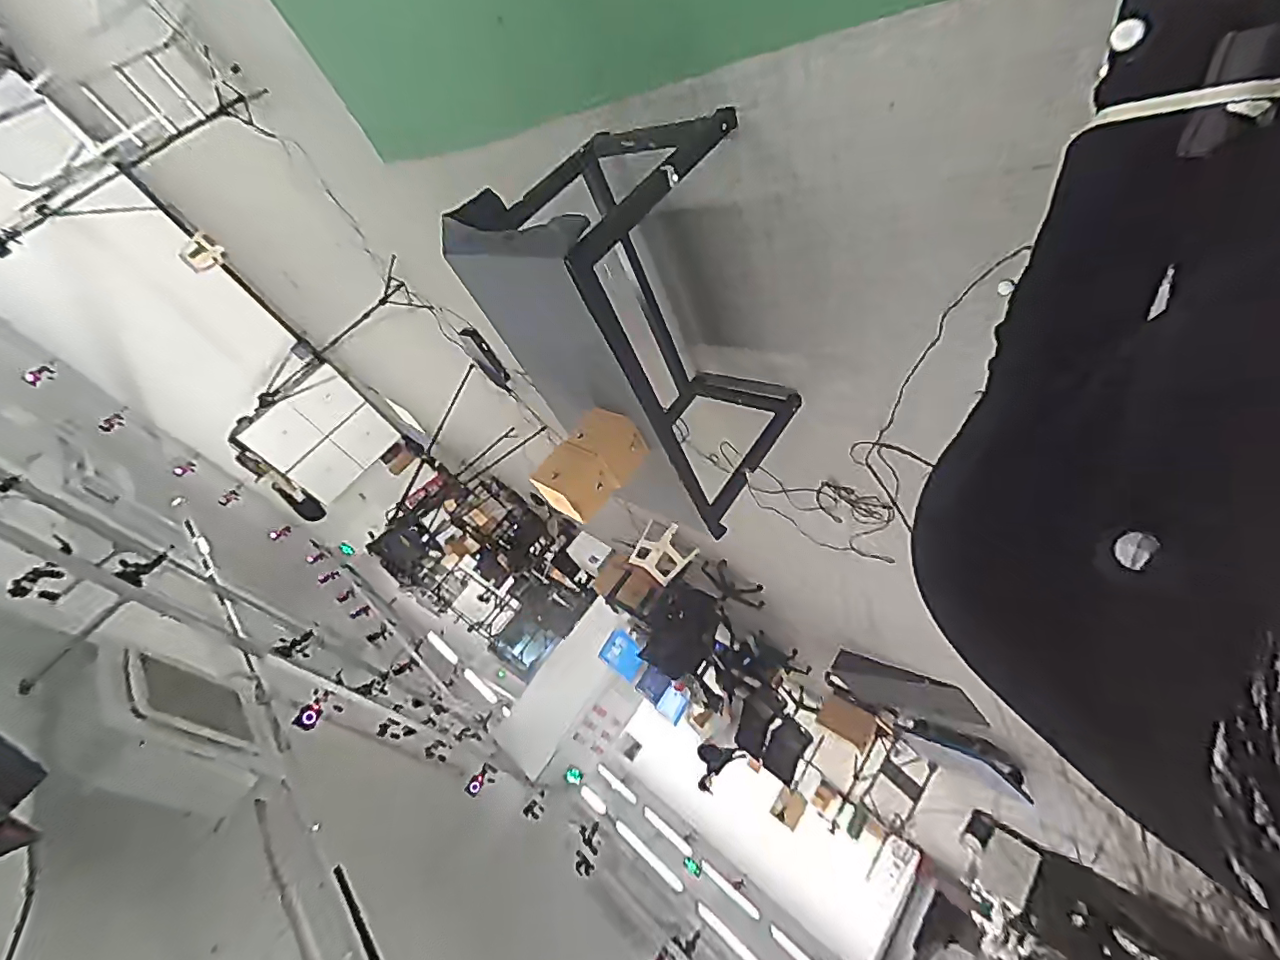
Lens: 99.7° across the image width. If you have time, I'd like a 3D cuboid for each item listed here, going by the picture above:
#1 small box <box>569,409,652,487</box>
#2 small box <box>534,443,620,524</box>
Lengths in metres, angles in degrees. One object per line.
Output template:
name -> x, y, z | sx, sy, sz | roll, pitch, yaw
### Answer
small box -> -0.092, -0.111, 1.774 | 0.179, 0.176, 0.168 | 23, 156, 40
small box -> -0.196, 0.004, 1.726 | 0.179, 0.176, 0.168 | 23, 155, 39
